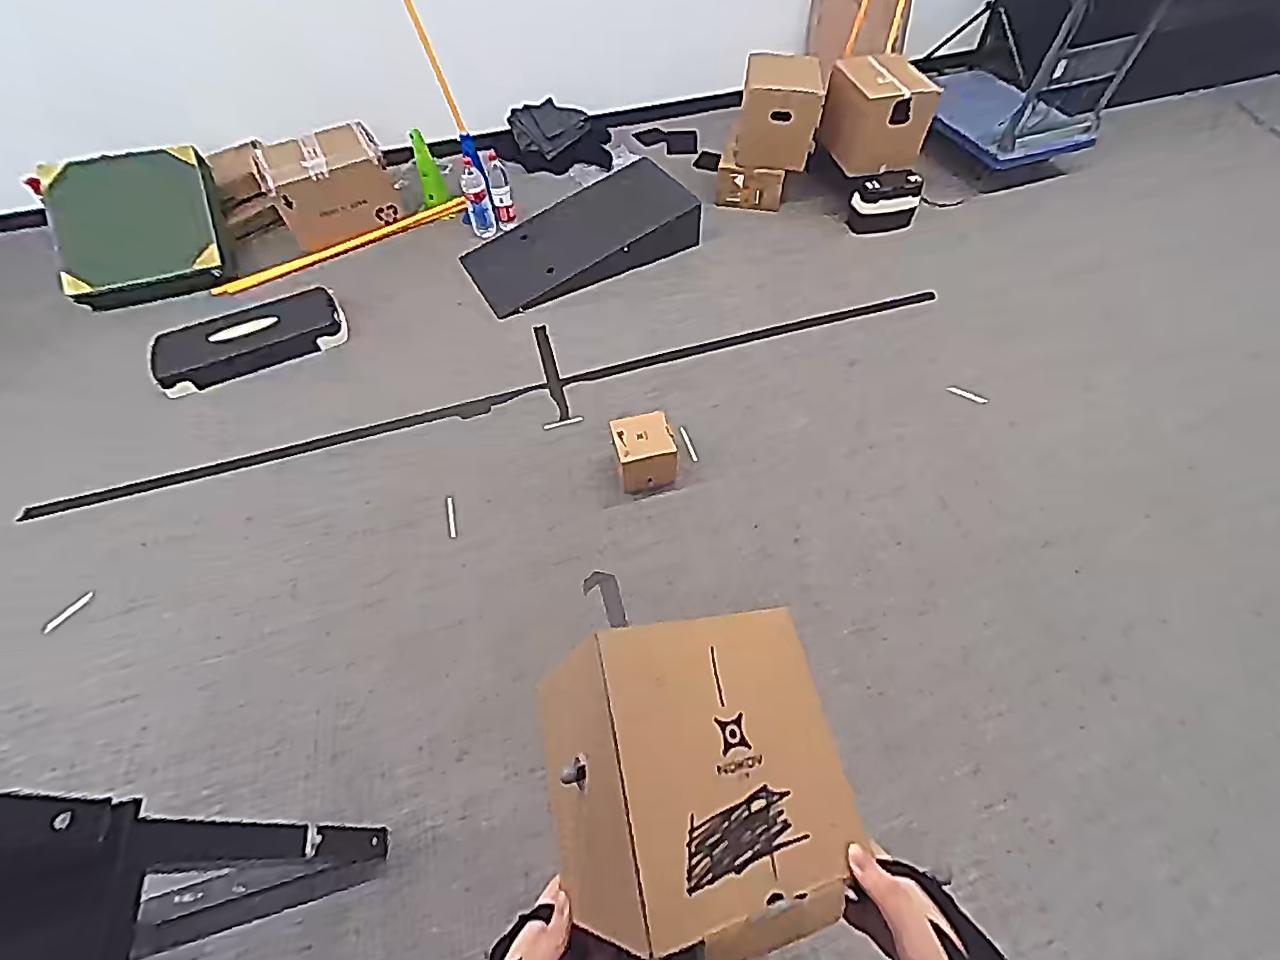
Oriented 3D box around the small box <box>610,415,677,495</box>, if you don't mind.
[{"bbox_3d":[0.008,-0.076,1.697,0.179,0.176,0.168,-12,56,-8],"label":"small box"}]
